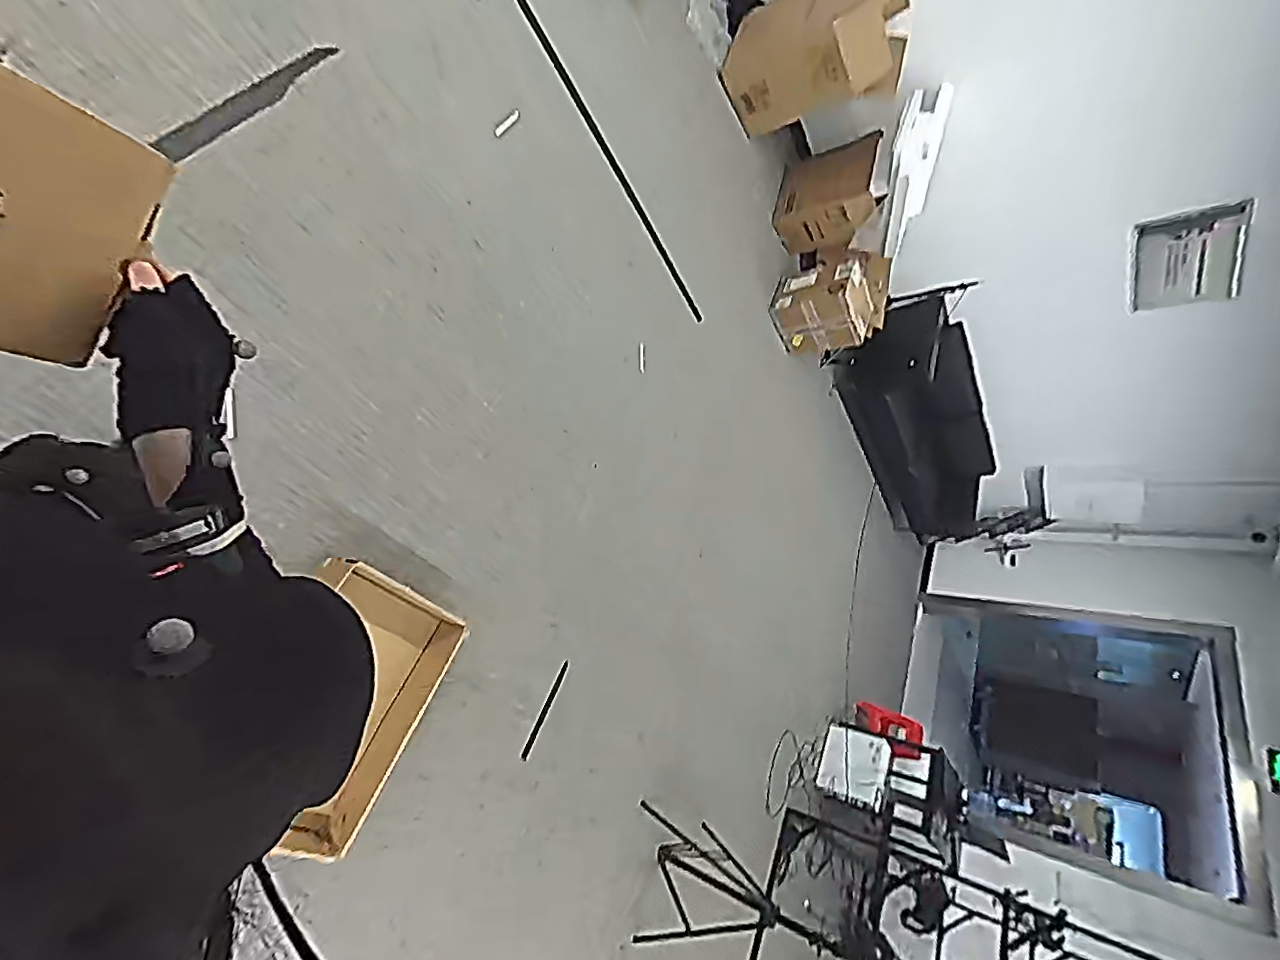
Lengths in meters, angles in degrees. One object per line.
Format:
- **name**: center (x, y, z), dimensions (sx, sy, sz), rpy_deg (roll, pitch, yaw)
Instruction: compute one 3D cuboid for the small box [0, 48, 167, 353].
- **small box**: center (-0.457, -0.205, 0.328), dimensions (0.168, 0.176, 0.179), rpy_deg (-63, 159, 5)
